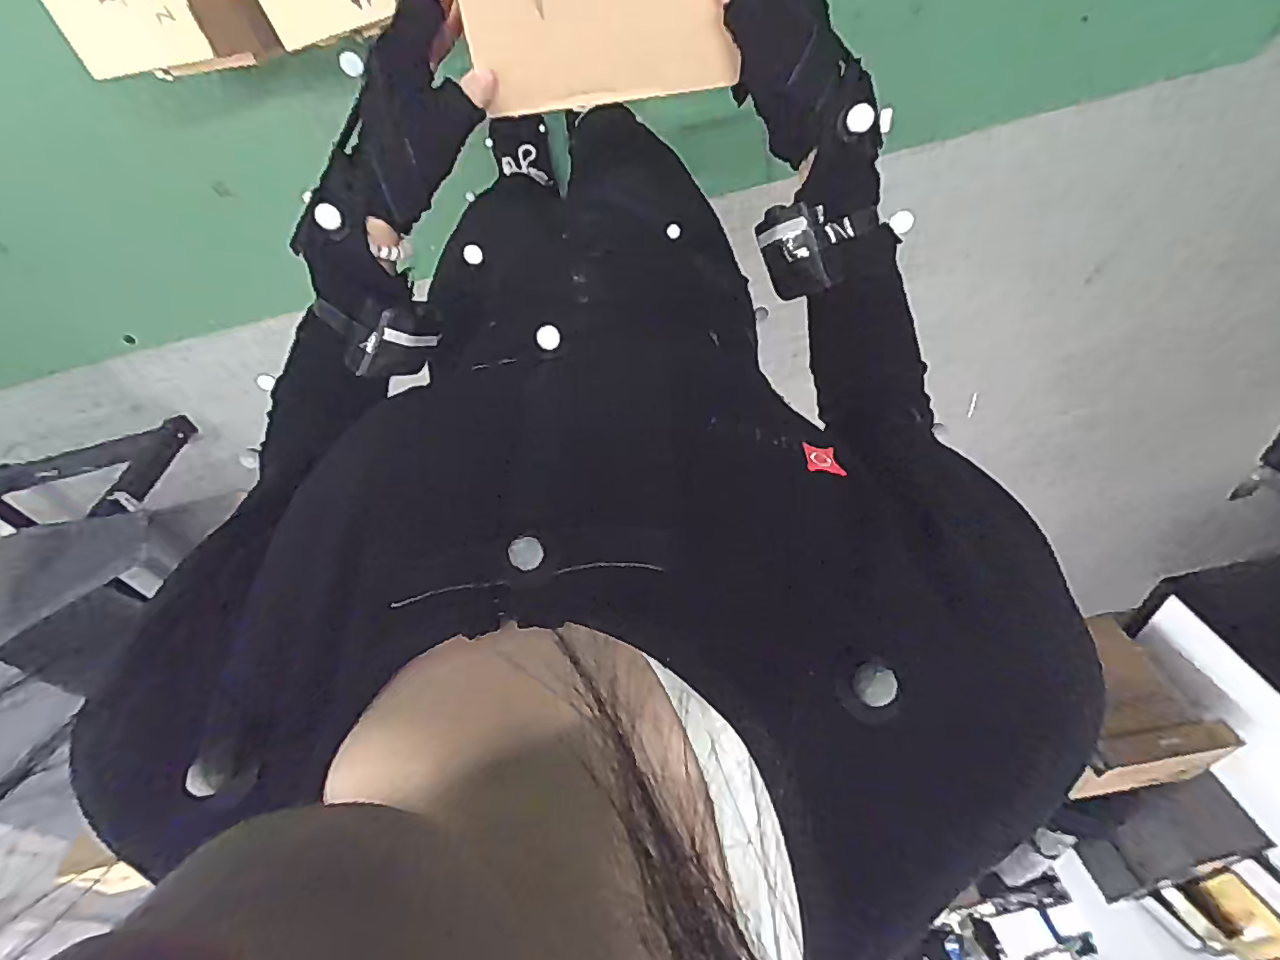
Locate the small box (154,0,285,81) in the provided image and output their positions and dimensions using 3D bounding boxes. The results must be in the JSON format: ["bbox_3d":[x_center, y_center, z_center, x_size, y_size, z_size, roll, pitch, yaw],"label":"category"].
[{"bbox_3d":[-0.732,-0.786,0.892,0.168,0.176,0.179,-10,132,-2],"label":"small box"}]

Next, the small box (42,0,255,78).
[{"bbox_3d":[-0.701,-0.686,0.764,0.179,0.176,0.168,-11,132,-1],"label":"small box"}]

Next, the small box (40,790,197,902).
[{"bbox_3d":[-1.227,0.872,1.291,0.179,0.176,0.168,-14,133,0],"label":"small box"}]
